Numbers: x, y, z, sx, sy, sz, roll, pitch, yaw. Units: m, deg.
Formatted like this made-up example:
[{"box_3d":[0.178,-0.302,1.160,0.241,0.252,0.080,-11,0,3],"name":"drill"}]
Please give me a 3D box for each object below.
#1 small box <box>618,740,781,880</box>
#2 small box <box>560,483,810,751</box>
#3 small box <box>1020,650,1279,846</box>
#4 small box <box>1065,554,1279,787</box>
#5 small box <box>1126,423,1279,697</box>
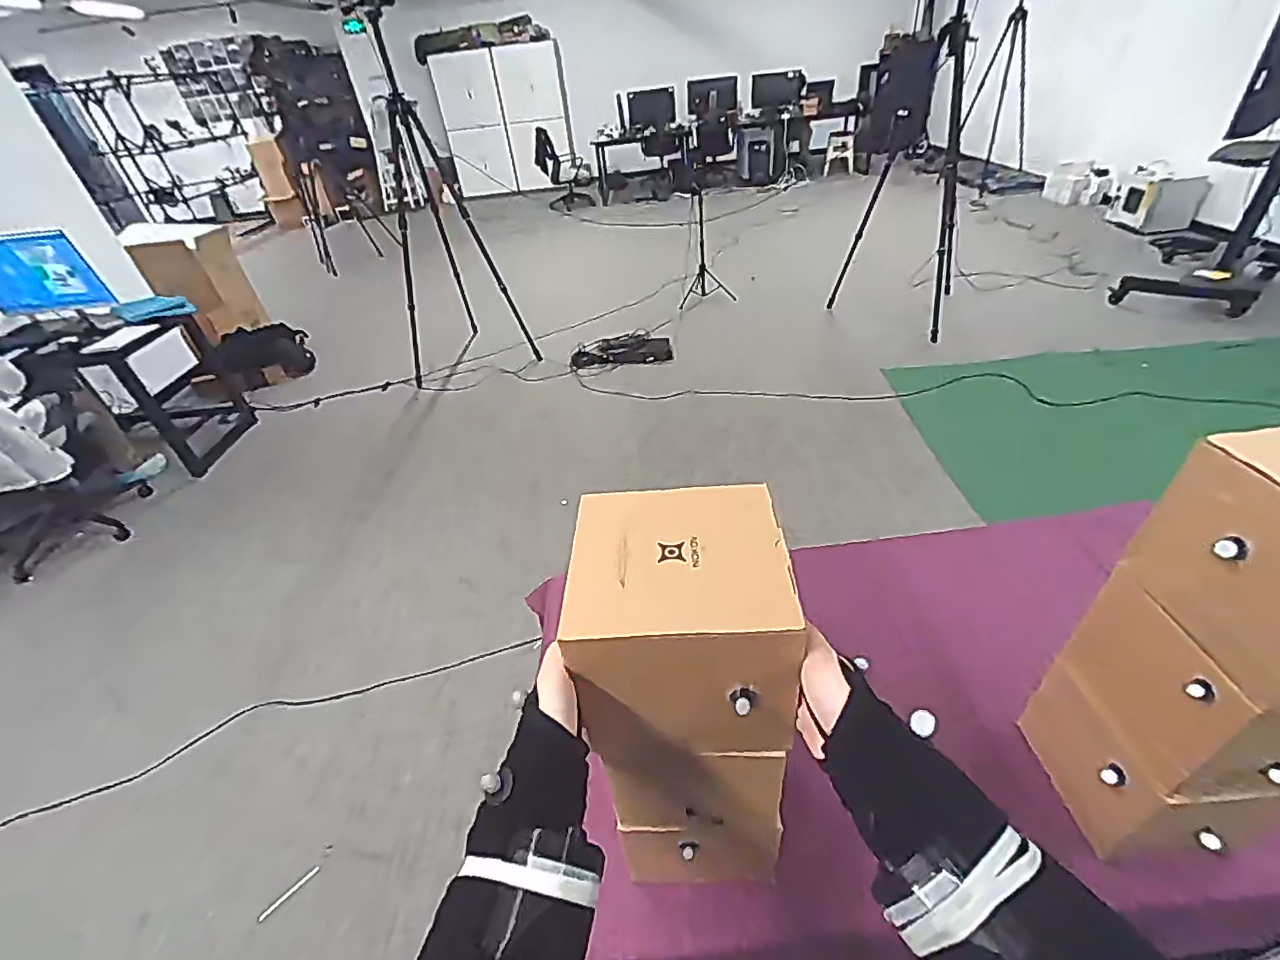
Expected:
[{"box_3d":[0.072,0.381,0.682,0.179,0.176,0.168,-4,38,4],"name":"small box"},{"box_3d":[0.039,0.122,0.483,0.179,0.176,0.168,-4,38,4],"name":"small box"},{"box_3d":[0.616,0.323,0.661,0.168,0.176,0.179,-6,38,2],"name":"small box"},{"box_3d":[0.604,0.190,0.566,0.168,0.176,0.179,-6,39,2],"name":"small box"},{"box_3d":[0.586,0.064,0.462,0.168,0.176,0.179,-9,38,0],"name":"small box"}]
